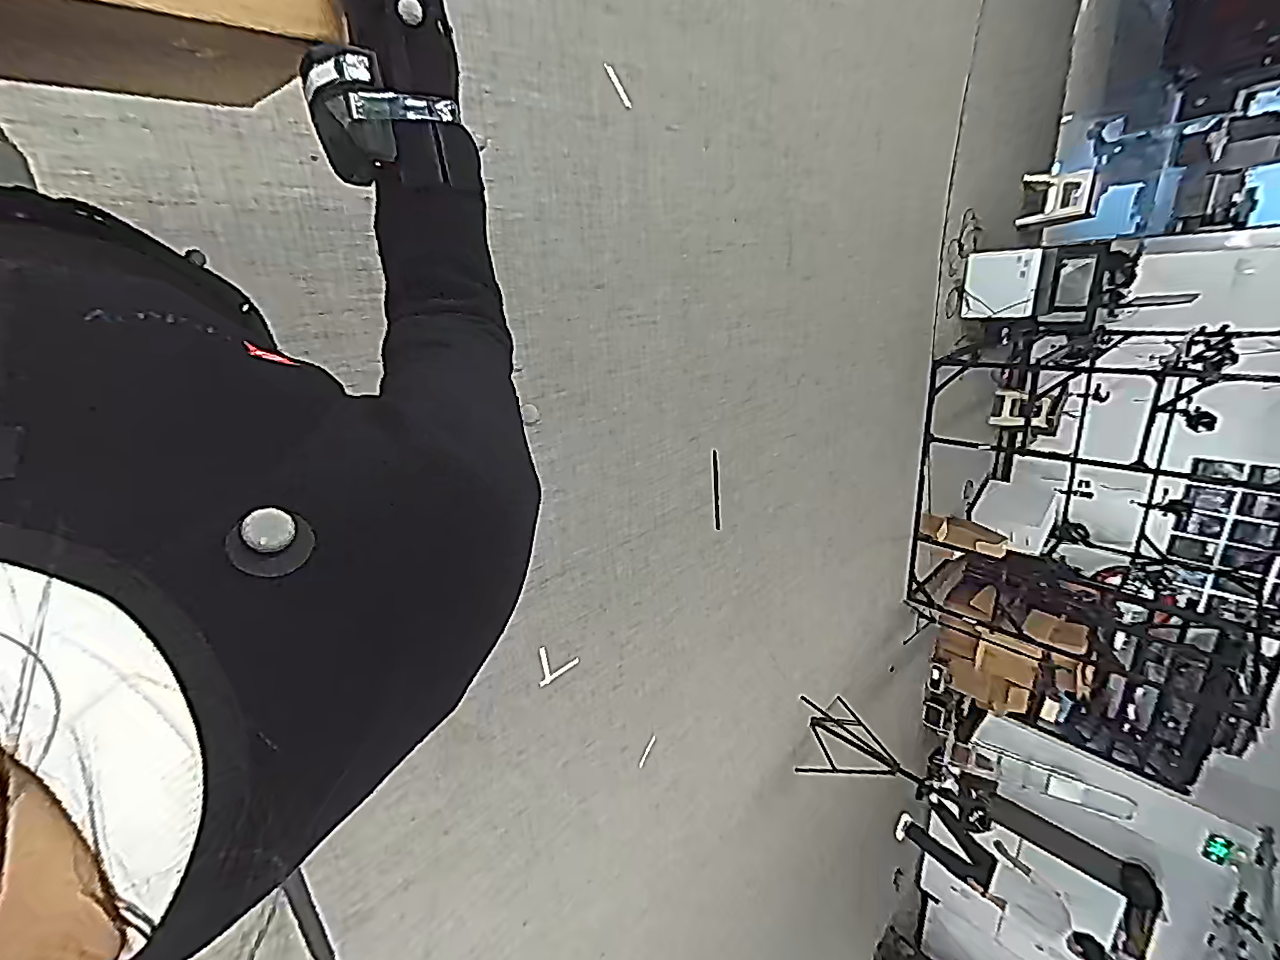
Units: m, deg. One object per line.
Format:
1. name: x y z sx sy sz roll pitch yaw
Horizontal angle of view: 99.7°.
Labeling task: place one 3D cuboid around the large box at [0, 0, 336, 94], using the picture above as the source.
1. large box: -0.432 -0.398 0.241 0.408 0.320 0.320 -22 126 -38
